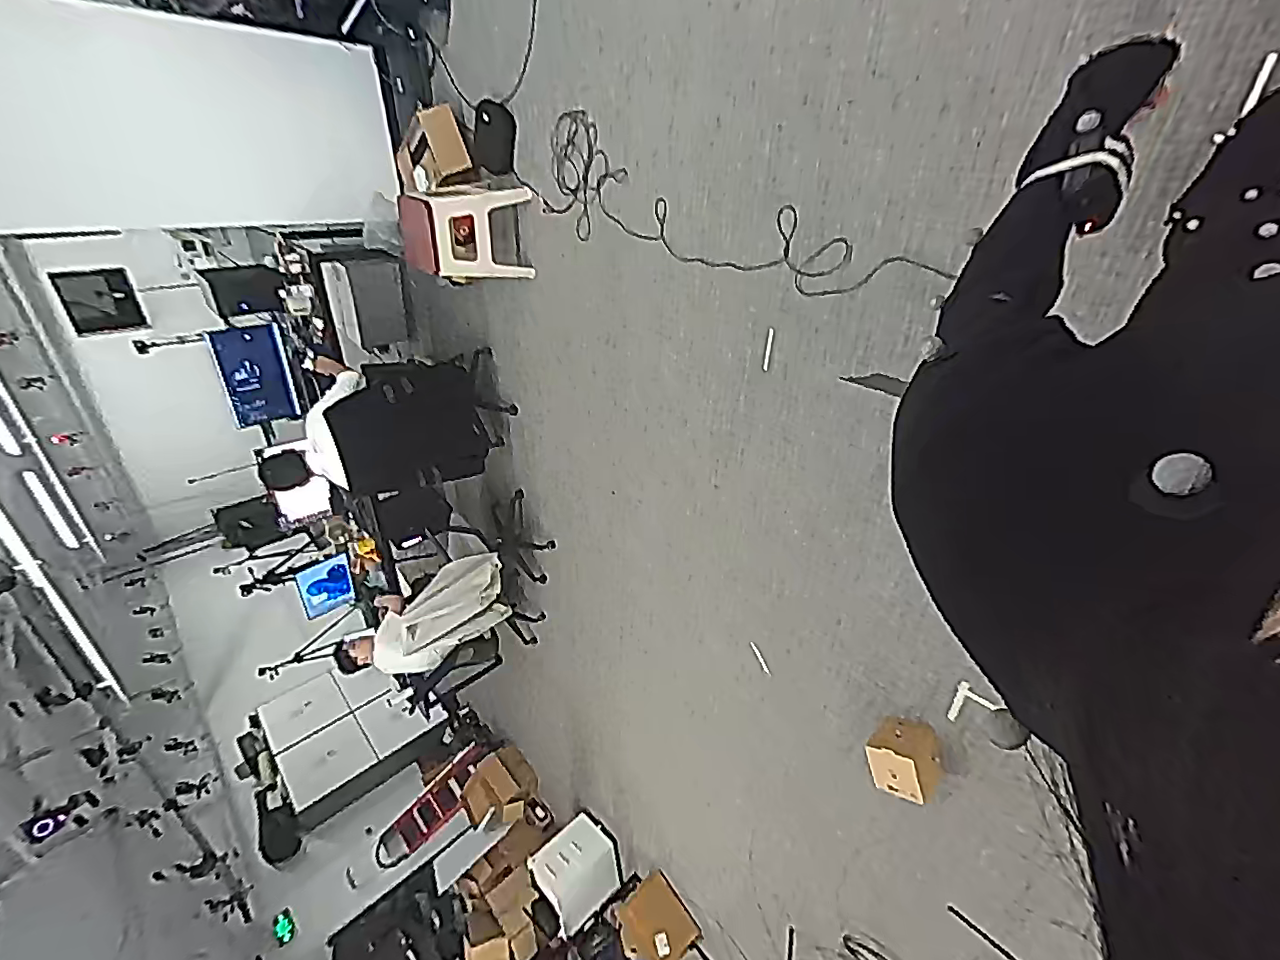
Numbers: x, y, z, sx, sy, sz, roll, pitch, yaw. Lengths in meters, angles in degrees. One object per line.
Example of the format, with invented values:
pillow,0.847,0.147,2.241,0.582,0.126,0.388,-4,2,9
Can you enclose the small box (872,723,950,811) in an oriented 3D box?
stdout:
small box,0.913,0.956,1.819,0.168,0.176,0.179,-6,104,51
